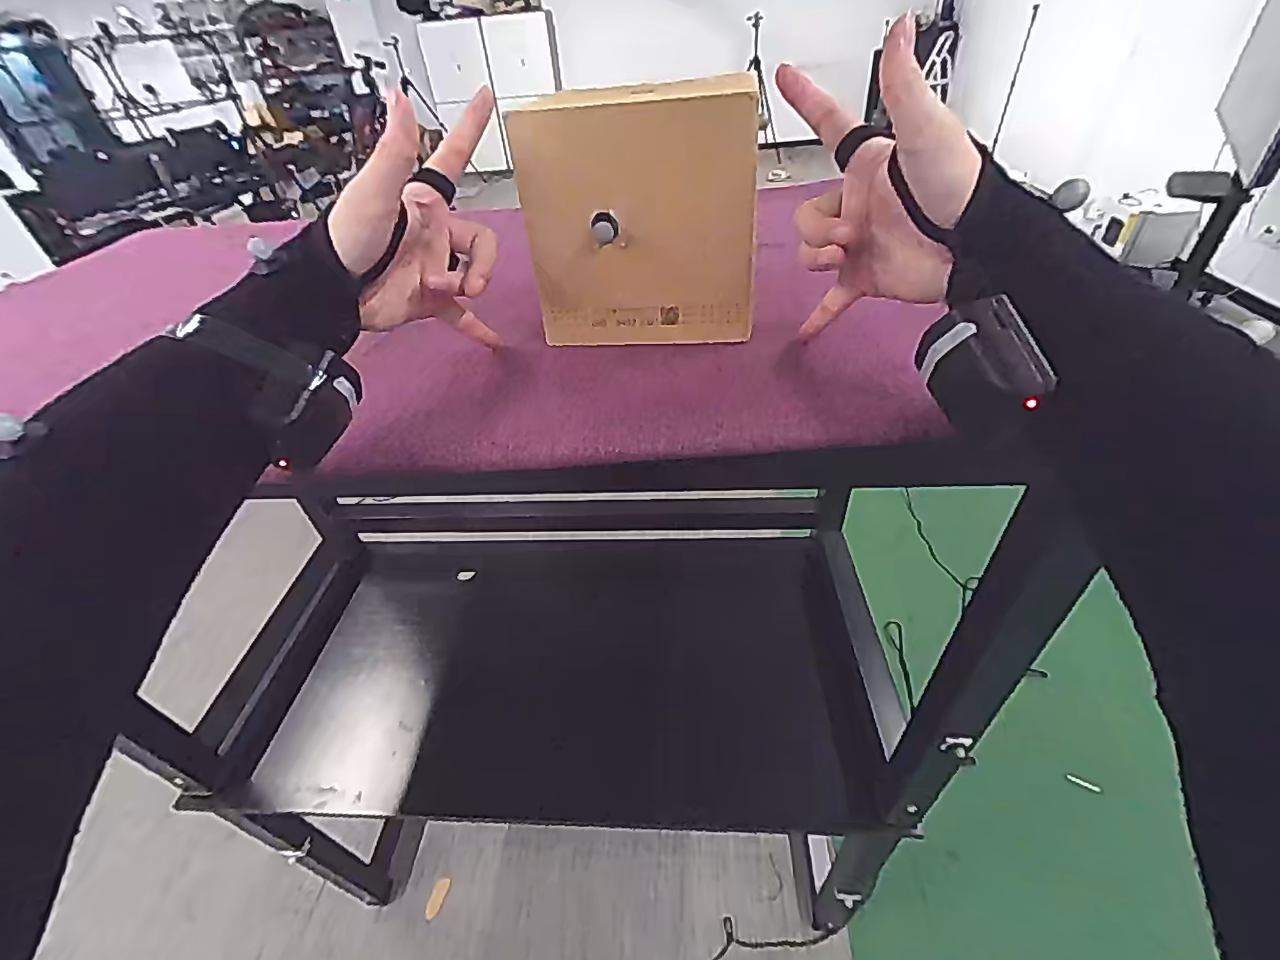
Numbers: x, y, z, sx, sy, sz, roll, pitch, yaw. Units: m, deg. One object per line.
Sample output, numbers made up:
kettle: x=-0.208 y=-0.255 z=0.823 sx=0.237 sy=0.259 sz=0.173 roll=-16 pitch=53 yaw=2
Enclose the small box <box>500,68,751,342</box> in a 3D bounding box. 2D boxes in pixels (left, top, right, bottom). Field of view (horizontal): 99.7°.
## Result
small box: x=0.007 y=-0.224 z=0.449 sx=0.168 sy=0.176 sz=0.179 roll=1 pitch=39 yaw=9
